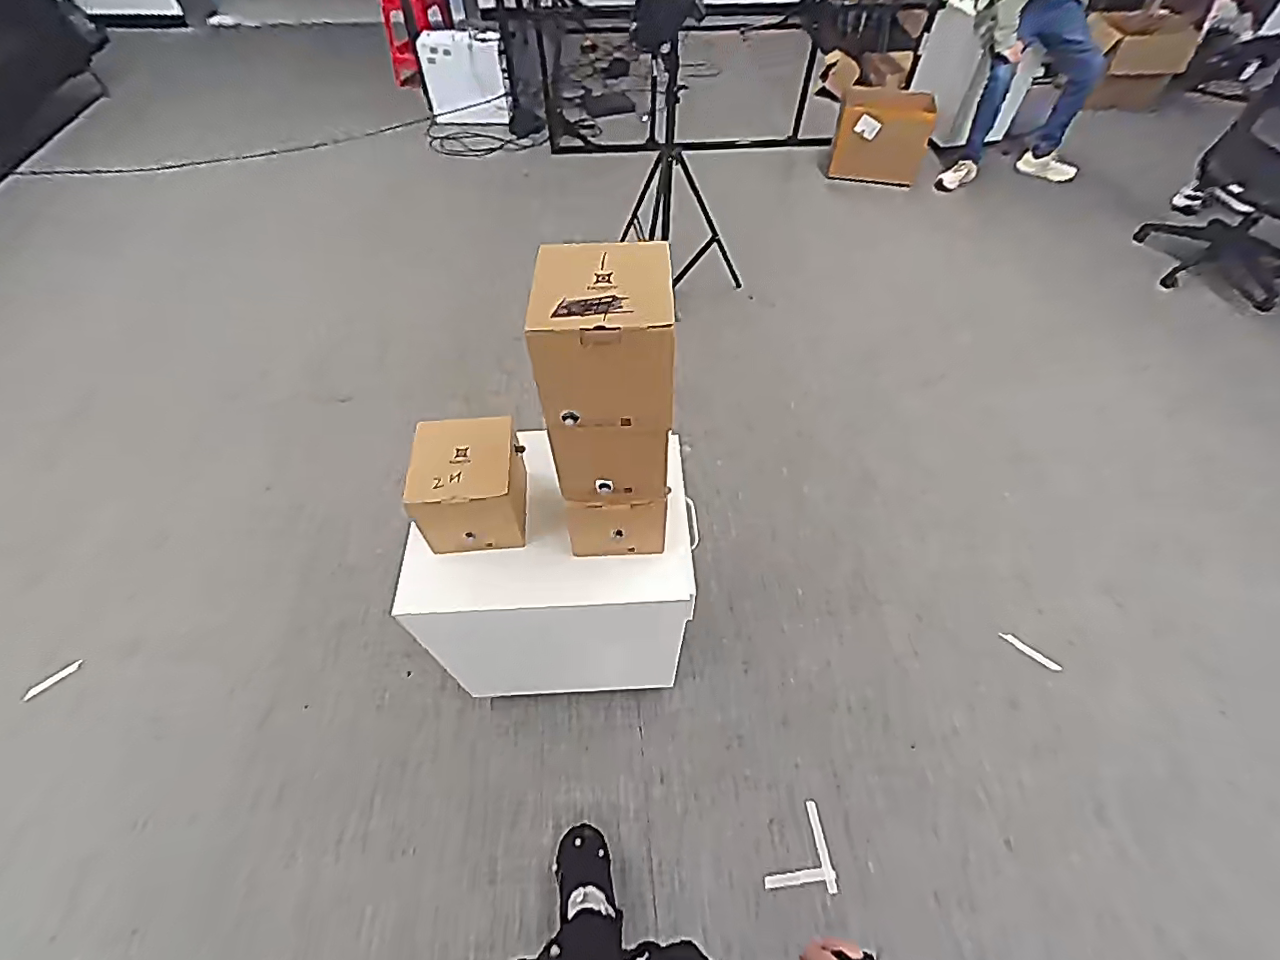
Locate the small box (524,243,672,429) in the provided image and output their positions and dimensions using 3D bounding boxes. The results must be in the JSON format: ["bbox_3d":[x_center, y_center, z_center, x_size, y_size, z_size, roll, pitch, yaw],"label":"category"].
[{"bbox_3d":[-0.043,-0.179,0.696,0.168,0.176,0.179,-1,53,0],"label":"small box"}]

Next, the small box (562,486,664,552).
[{"bbox_3d":[-0.043,0.019,0.958,0.168,0.176,0.179,-3,55,-1],"label":"small box"}]

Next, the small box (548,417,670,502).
[{"bbox_3d":[-0.043,-0.084,0.831,0.168,0.176,0.179,-3,55,0],"label":"small box"}]

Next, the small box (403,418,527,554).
[{"bbox_3d":[-0.298,0.012,0.960,0.168,0.176,0.179,-5,55,-4],"label":"small box"}]
